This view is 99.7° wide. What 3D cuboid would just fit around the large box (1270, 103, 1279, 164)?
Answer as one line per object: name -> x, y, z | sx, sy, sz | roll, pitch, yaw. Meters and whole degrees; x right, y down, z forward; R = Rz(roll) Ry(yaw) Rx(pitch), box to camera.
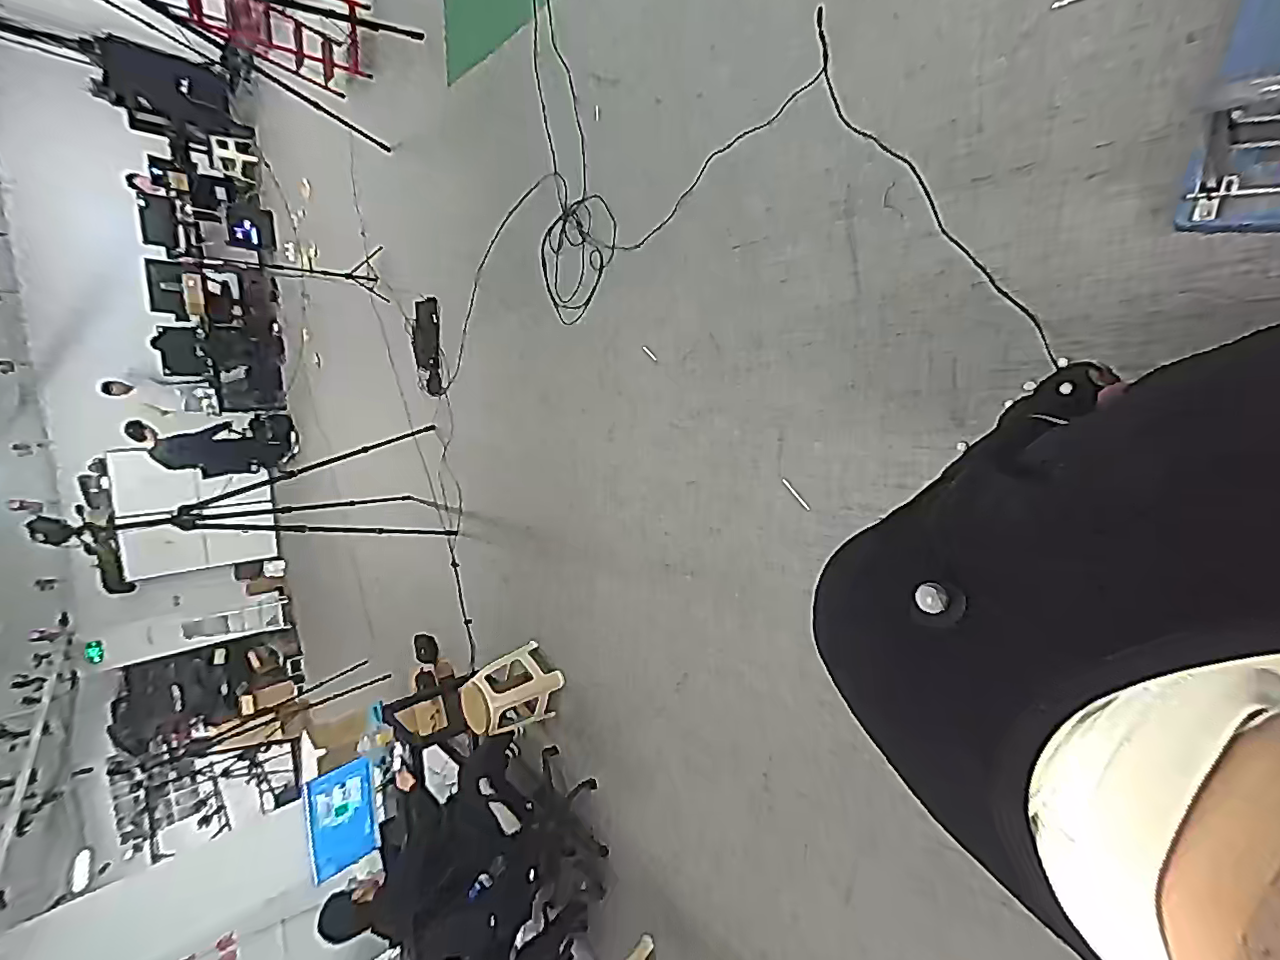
large box -> 1.119, -0.692, 0.699 | 0.320, 0.320, 0.408 | 21, 110, 42
